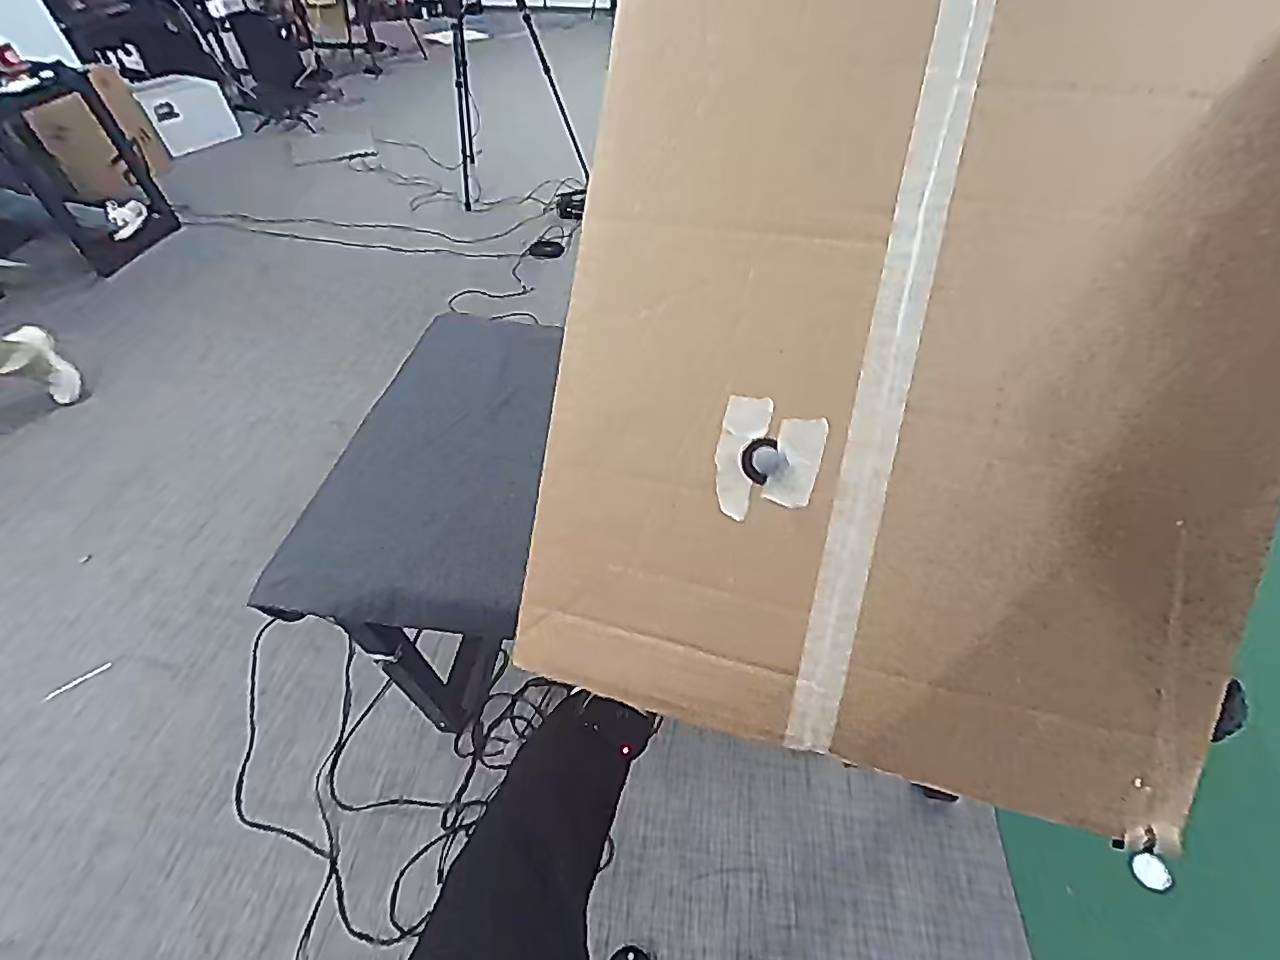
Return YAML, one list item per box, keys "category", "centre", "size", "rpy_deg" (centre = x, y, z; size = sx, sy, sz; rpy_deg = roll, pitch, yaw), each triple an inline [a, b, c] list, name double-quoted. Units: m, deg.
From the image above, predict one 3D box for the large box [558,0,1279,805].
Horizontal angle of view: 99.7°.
- category: "large box"
  centre: [0.155, -0.076, 0.408]
  size: [0.320, 0.408, 0.320]
  rpy_deg: [11, 7, 12]
